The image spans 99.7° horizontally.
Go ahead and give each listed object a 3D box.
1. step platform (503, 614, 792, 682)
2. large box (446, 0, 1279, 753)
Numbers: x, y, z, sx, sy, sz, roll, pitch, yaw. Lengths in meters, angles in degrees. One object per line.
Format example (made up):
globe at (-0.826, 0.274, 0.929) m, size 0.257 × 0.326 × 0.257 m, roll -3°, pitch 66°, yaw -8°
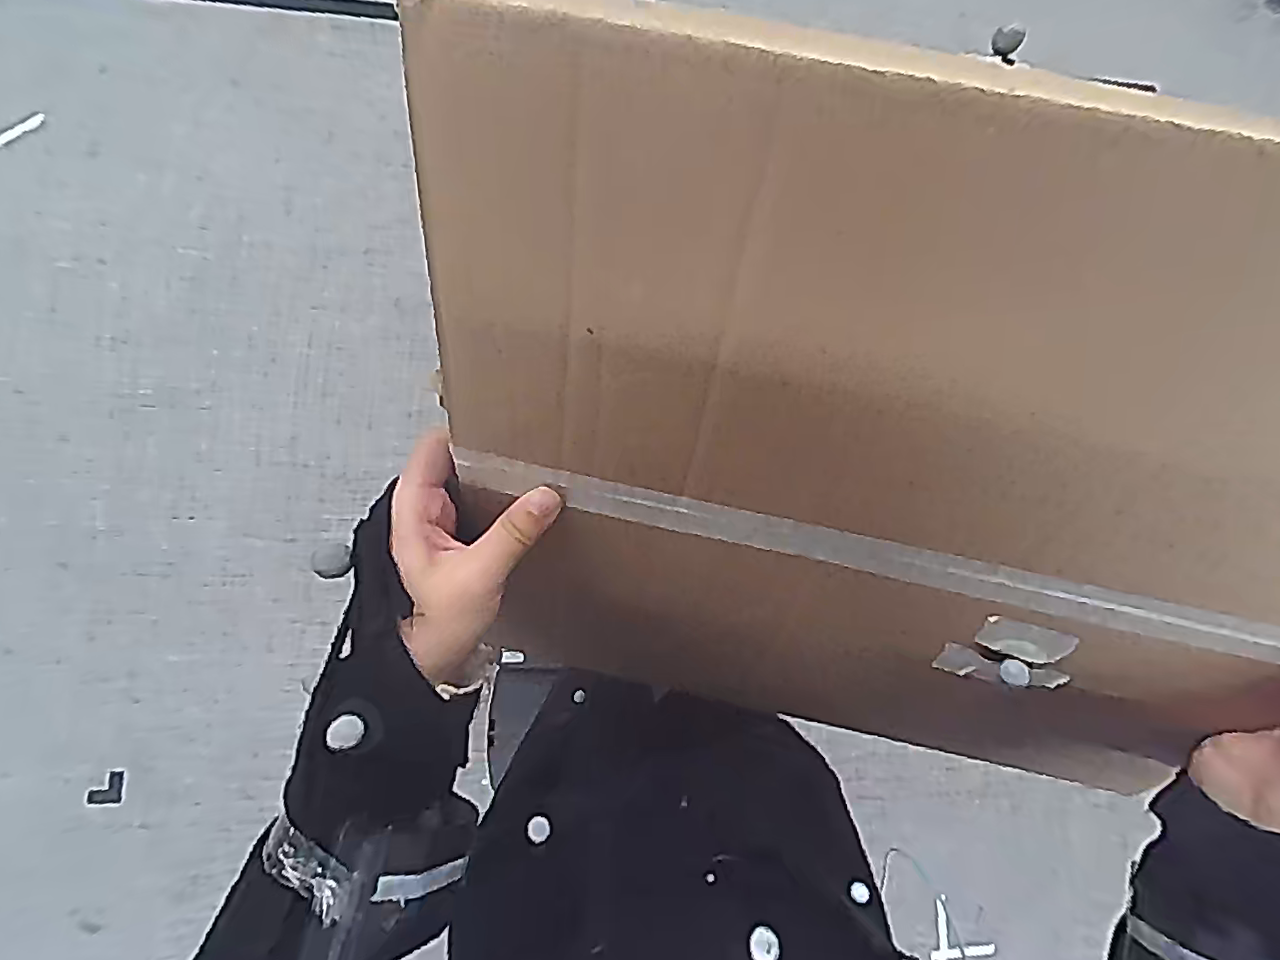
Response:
step platform at (0.034, 0.278, 1.258) m, size 0.684 × 0.204 × 0.286 m, roll 8°, pitch 84°, yaw -6°
large box at (0.149, -0.088, 0.333) m, size 0.408 × 0.320 × 0.320 m, roll 12°, pitch 42°, yaw 2°
